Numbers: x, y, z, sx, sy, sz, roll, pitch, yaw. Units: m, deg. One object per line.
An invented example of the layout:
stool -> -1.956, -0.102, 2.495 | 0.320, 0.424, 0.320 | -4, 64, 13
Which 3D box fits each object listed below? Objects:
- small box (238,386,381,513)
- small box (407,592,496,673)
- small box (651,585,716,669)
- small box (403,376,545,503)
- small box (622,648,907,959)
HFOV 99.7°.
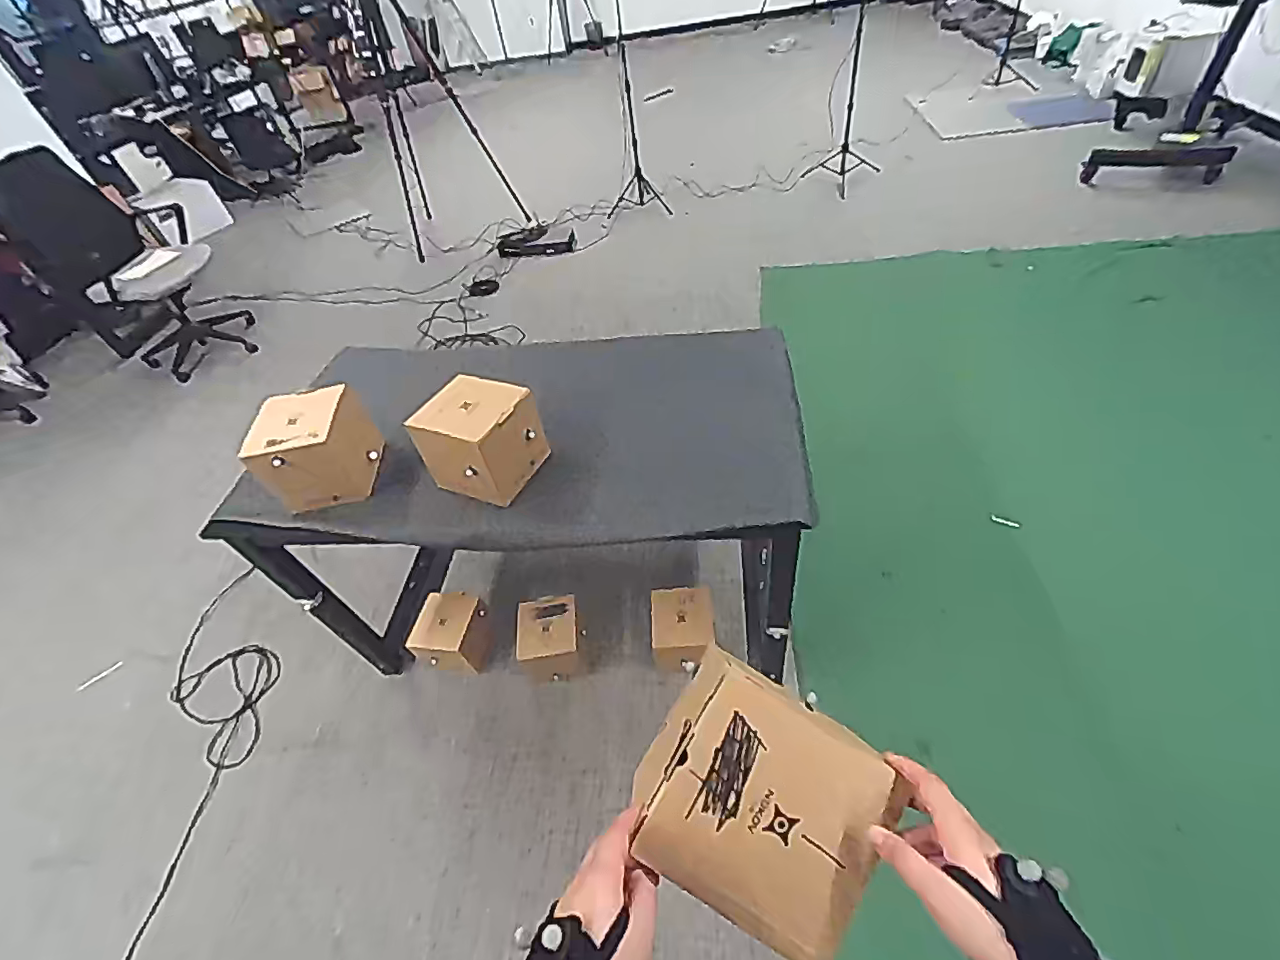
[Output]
small box -> -0.653, -0.061, 1.097 | 0.168, 0.176, 0.179 | -11, 47, 1
small box -> -0.549, 0.455, 1.607 | 0.168, 0.176, 0.179 | 1, 48, 12
small box -> 0.123, 0.415, 1.509 | 0.168, 0.176, 0.179 | -5, 47, 5
small box -> -0.309, -0.076, 1.047 | 0.179, 0.176, 0.168 | 13, 49, 23
small box -> 0.102, 0.276, 0.510 | 0.179, 0.176, 0.168 | 31, 82, 7
